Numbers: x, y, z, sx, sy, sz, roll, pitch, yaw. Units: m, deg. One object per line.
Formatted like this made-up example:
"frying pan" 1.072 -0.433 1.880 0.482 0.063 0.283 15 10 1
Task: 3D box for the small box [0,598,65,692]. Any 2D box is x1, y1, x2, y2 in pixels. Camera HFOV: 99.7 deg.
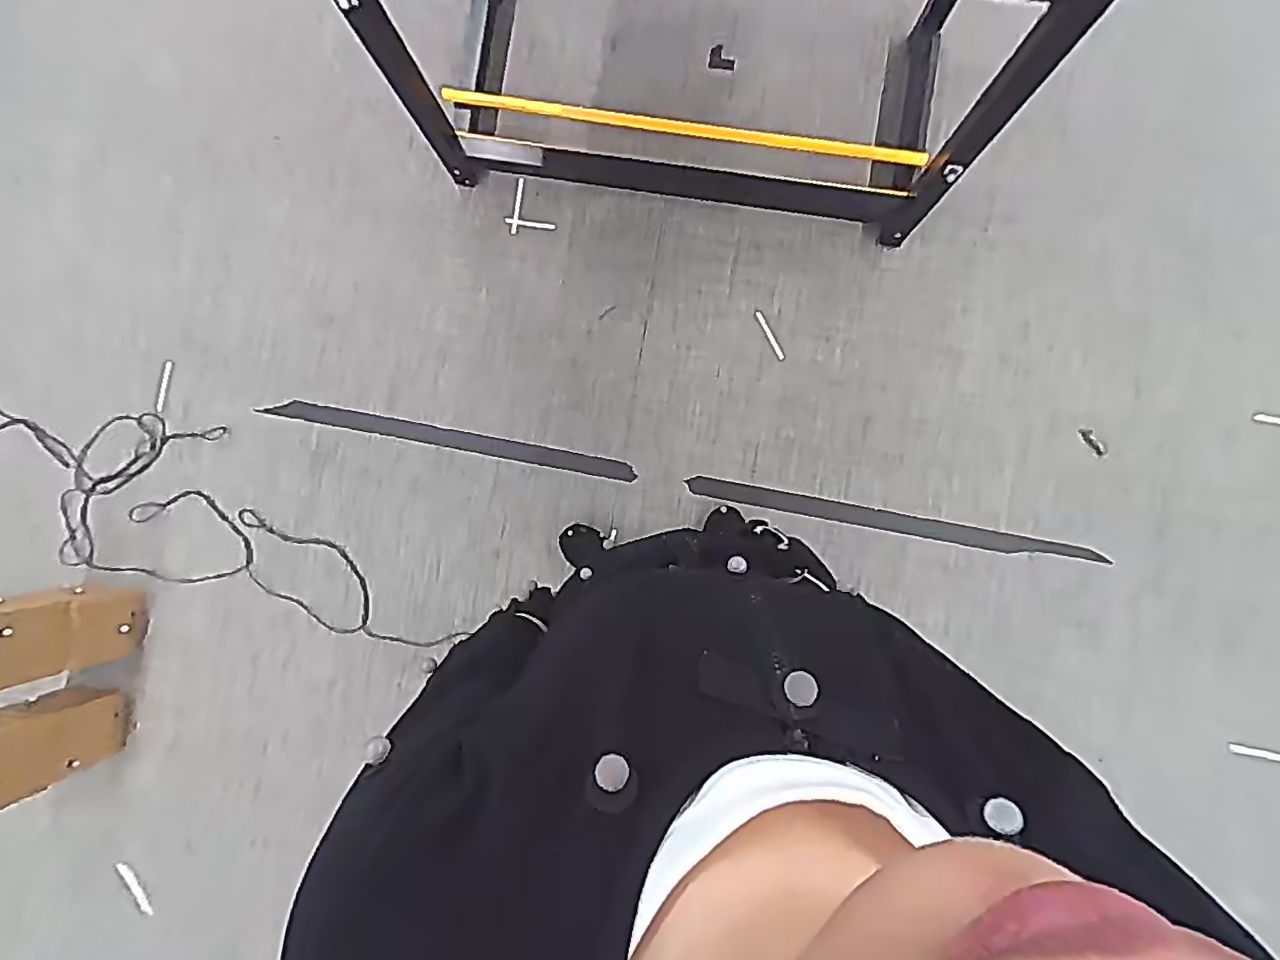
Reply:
"small box" -1.437 0.363 1.193 0.168 0.176 0.179 4 89 3

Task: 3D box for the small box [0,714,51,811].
"small box" -1.464 0.631 1.188 0.168 0.176 0.179 2 88 3

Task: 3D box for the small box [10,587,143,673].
"small box" -1.419 0.369 1.357 0.179 0.176 0.168 6 89 2
